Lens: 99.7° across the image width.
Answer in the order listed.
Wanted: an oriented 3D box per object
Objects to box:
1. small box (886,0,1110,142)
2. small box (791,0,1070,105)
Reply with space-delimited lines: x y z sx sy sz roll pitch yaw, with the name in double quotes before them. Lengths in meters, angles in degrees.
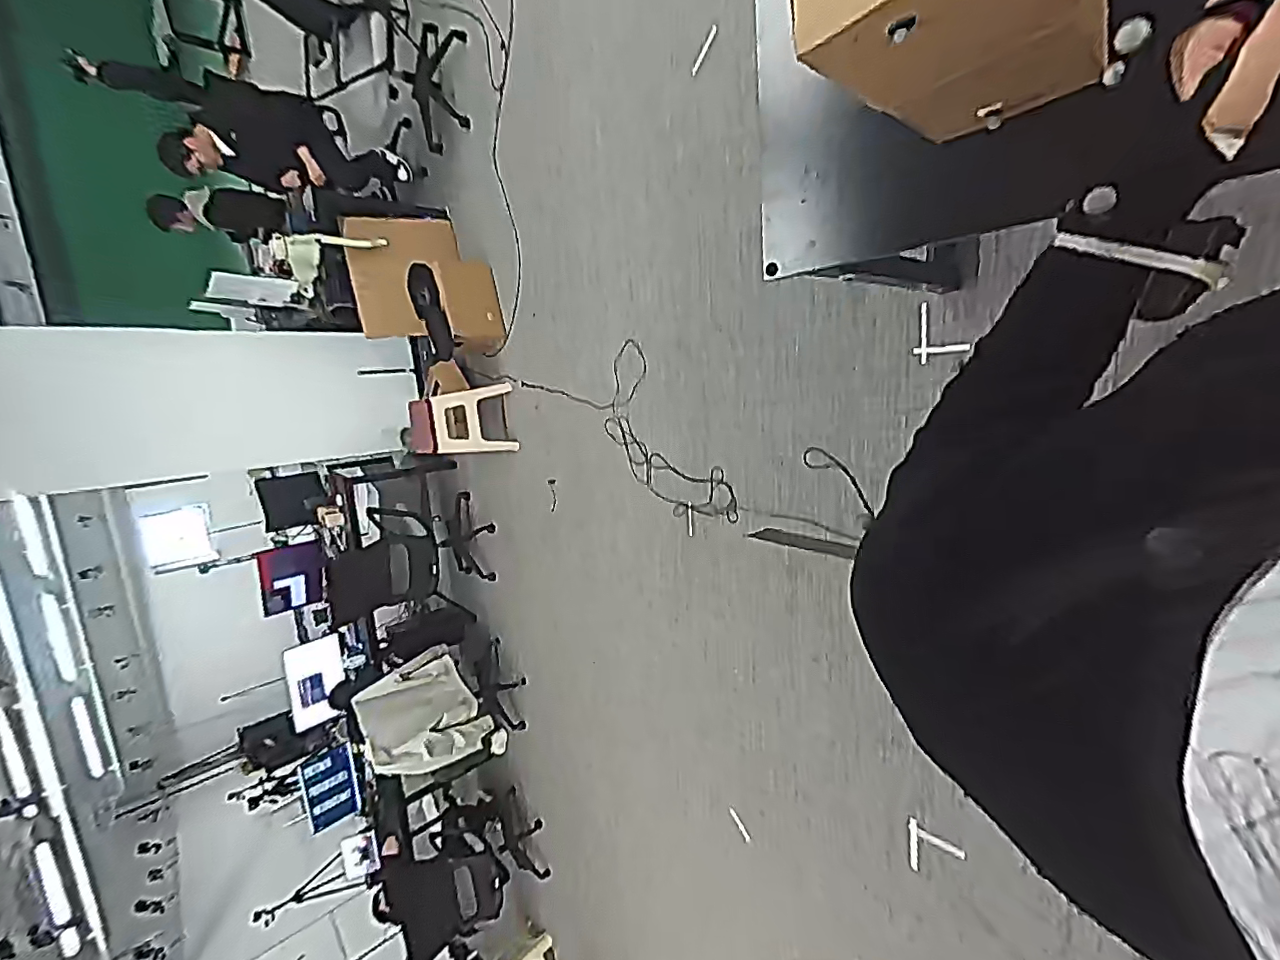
"small box" 0.371 -0.495 0.566 0.168 0.176 0.179 2 102 50
"small box" 0.247 -0.464 0.462 0.179 0.176 0.168 1 100 49
